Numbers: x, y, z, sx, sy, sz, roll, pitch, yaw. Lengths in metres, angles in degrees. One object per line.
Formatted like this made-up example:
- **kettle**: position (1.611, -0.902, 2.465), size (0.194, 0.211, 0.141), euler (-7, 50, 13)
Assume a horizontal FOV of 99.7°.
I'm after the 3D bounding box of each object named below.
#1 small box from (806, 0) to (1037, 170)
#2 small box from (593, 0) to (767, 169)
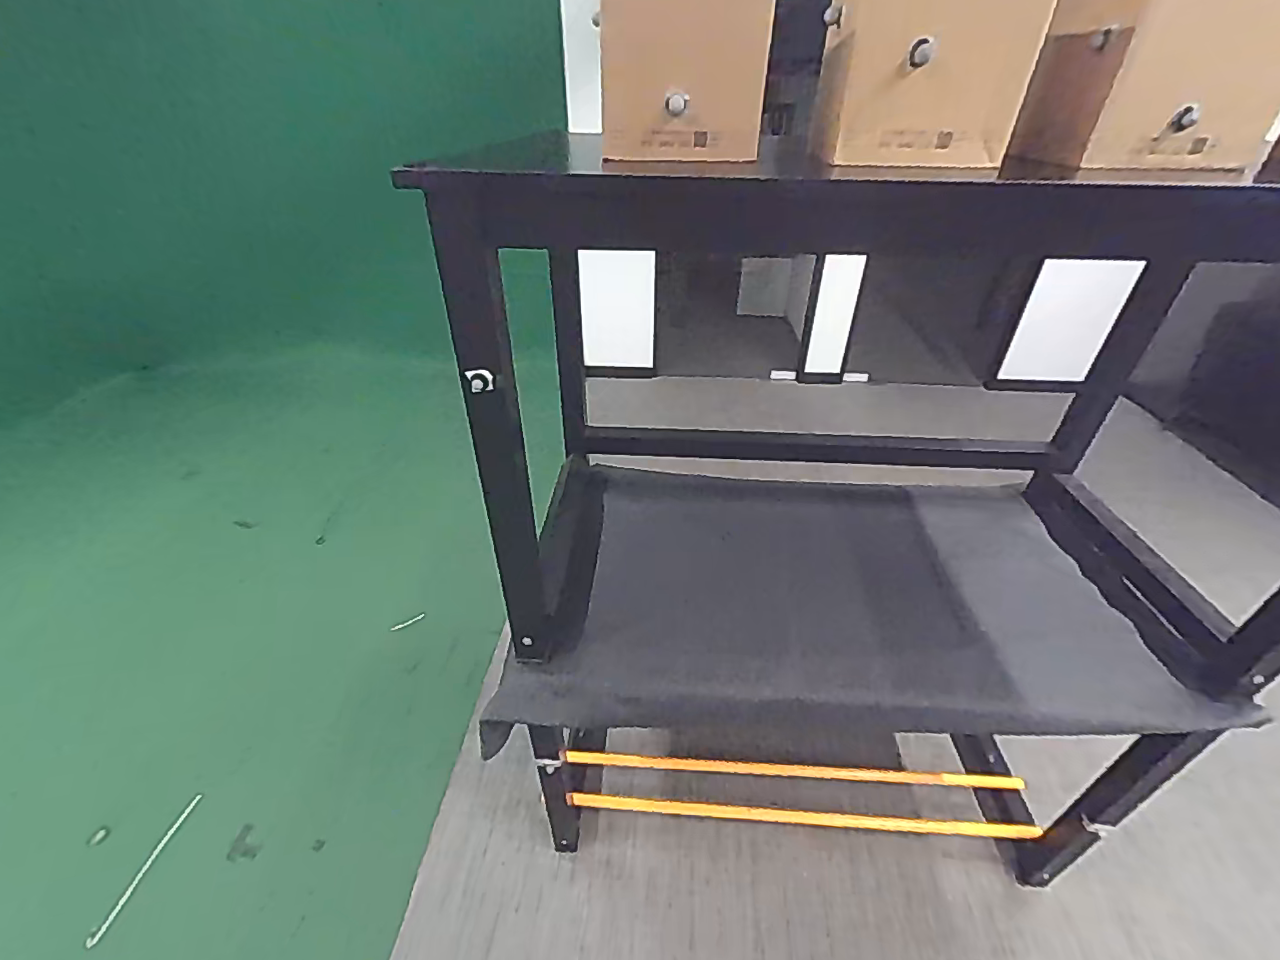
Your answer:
- **small box**: position (0.279, -0.428, 0.567), size (0.168, 0.176, 0.179), euler (3, 35, 5)
- **small box**: position (0.036, -0.451, 0.598), size (0.168, 0.176, 0.179), euler (0, 36, 1)
